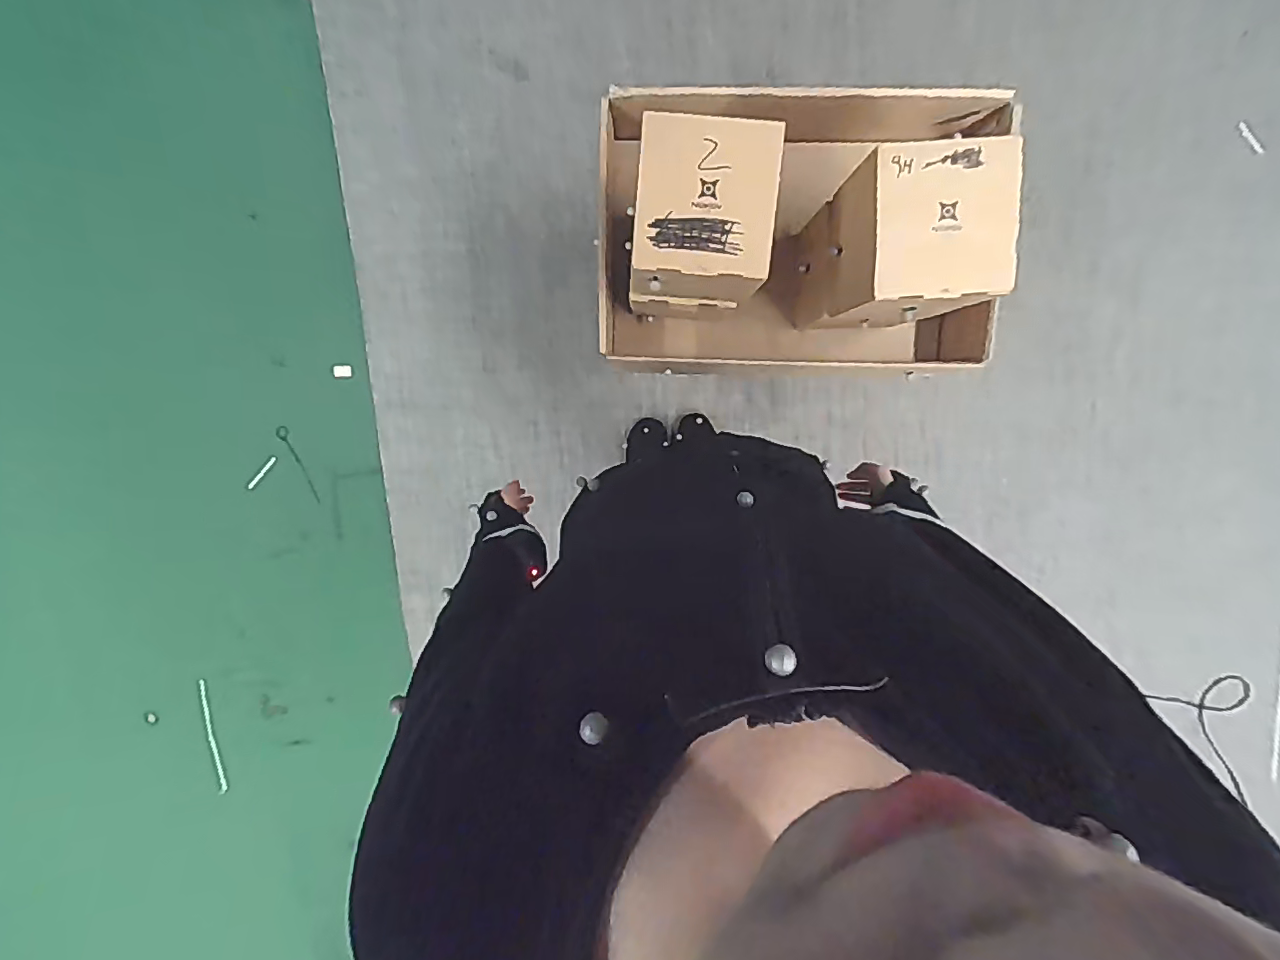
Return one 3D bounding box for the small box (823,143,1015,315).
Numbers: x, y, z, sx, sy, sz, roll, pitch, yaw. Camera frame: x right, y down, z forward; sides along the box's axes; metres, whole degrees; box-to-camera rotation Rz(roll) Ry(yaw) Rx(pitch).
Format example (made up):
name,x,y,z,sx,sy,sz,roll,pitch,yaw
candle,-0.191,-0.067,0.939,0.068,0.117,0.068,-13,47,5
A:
name,x,y,z,sx,sy,sz,roll,pitch,yaw
small box,0.351,-0.316,0.716,0.168,0.176,0.179,-2,100,1
